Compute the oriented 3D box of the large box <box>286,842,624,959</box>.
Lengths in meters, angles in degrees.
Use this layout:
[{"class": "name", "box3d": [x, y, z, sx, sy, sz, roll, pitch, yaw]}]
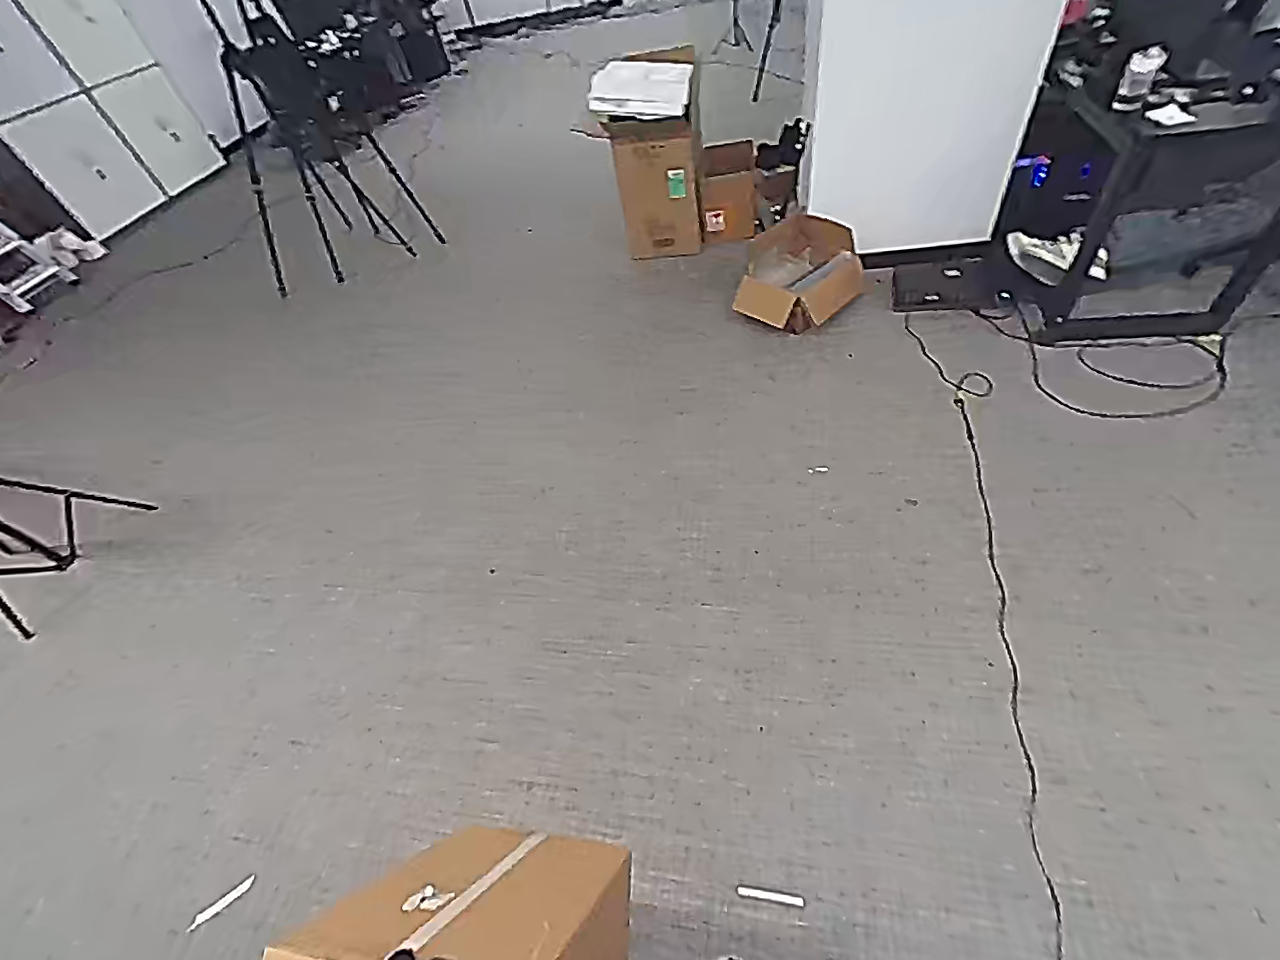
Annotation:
[{"class": "large box", "box3d": [-0.222, 0.729, 0.696, 0.320, 0.408, 0.320, -3, 74, 14]}]
